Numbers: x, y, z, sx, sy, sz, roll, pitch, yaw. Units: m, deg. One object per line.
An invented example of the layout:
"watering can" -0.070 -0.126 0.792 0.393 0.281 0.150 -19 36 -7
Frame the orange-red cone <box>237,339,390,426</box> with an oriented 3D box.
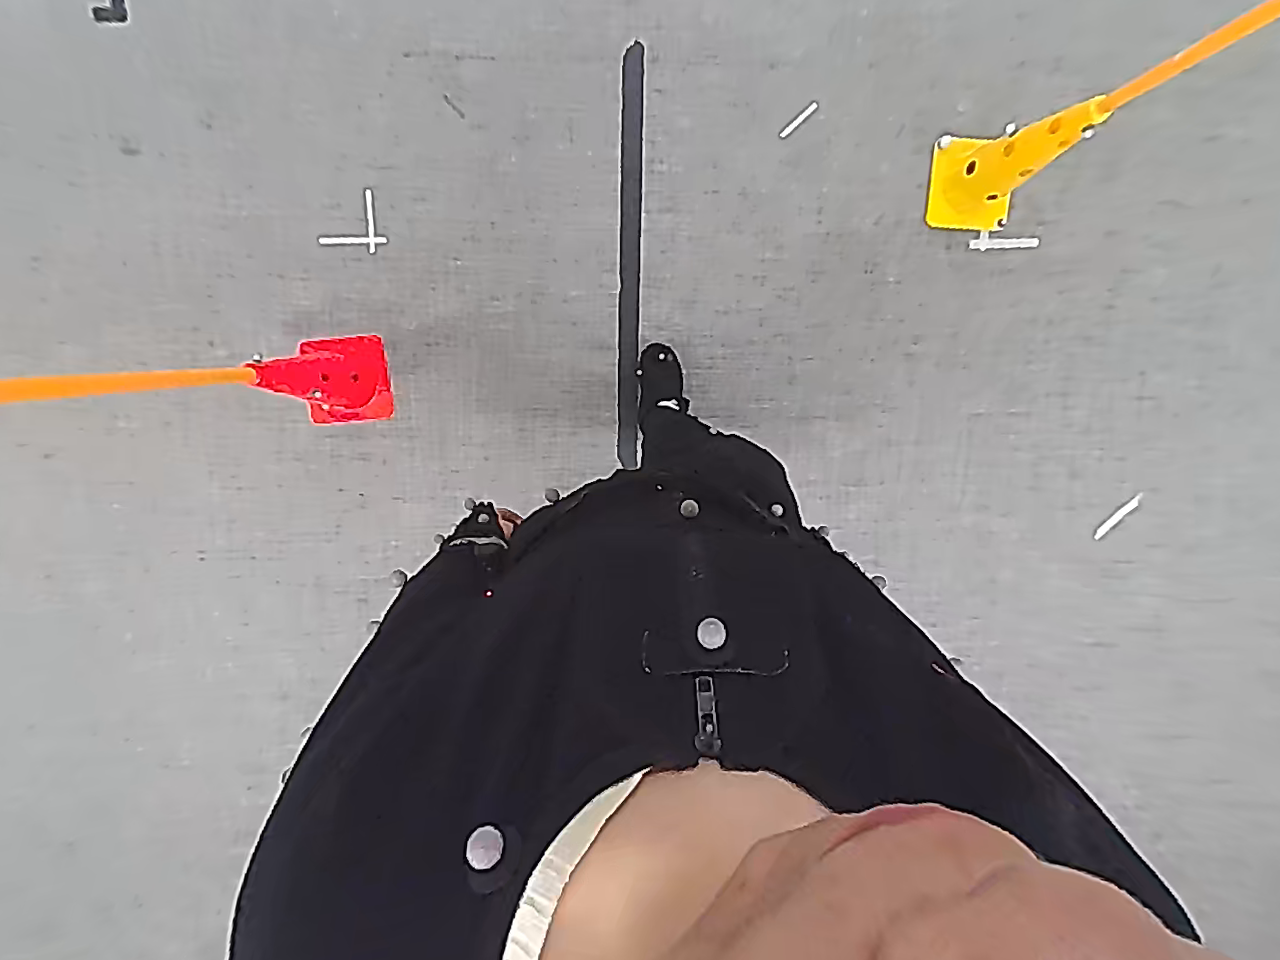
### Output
"orange-red cone" -0.694 -0.204 1.115 0.199 0.360 0.198 -5 99 -3
